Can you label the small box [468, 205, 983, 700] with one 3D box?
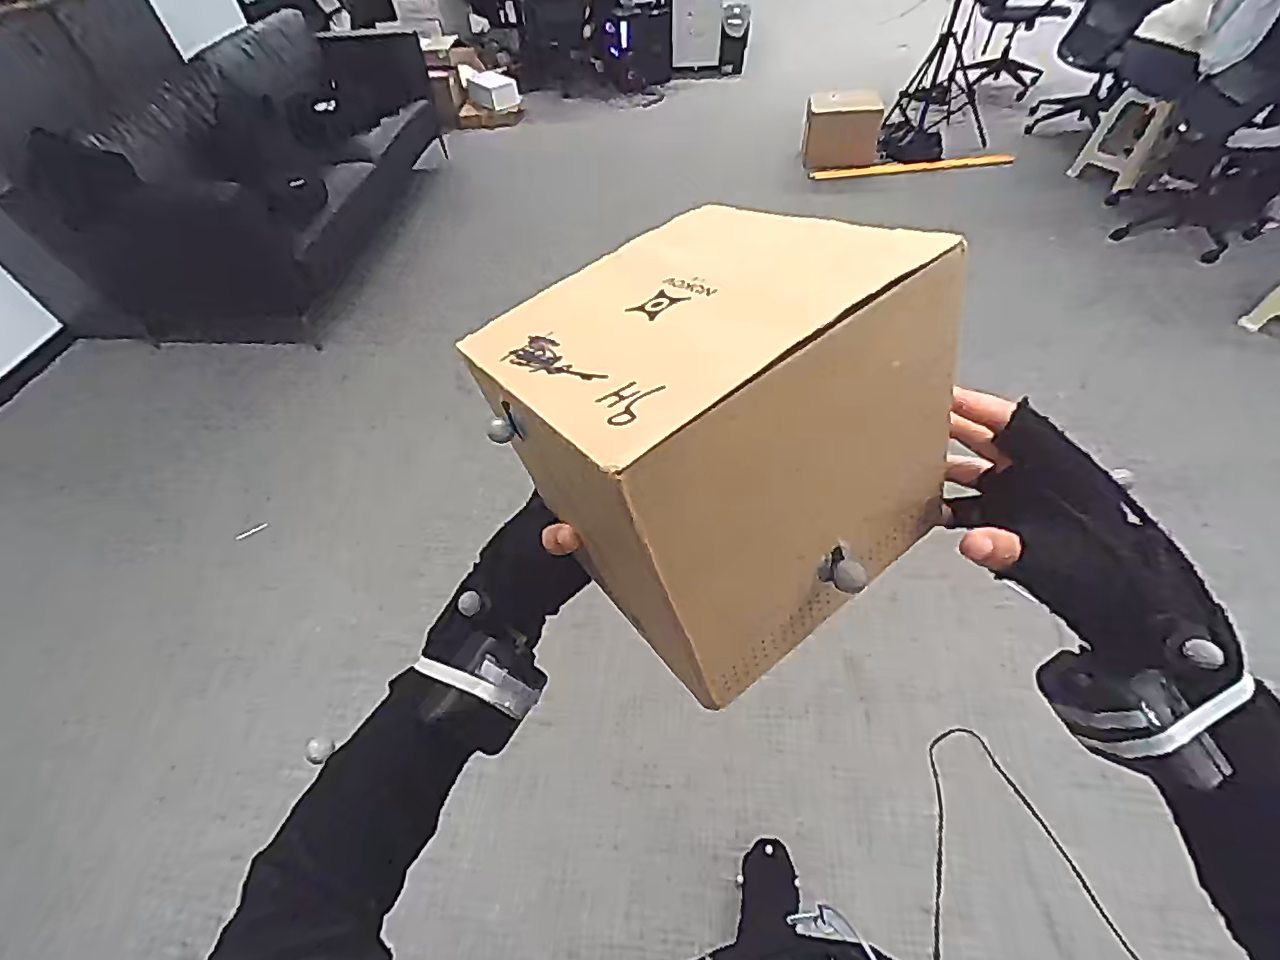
[{"bbox_3d":[0.042,-0.025,0.294,0.179,0.176,0.168,-34,41,-16],"label":"small box"}]
